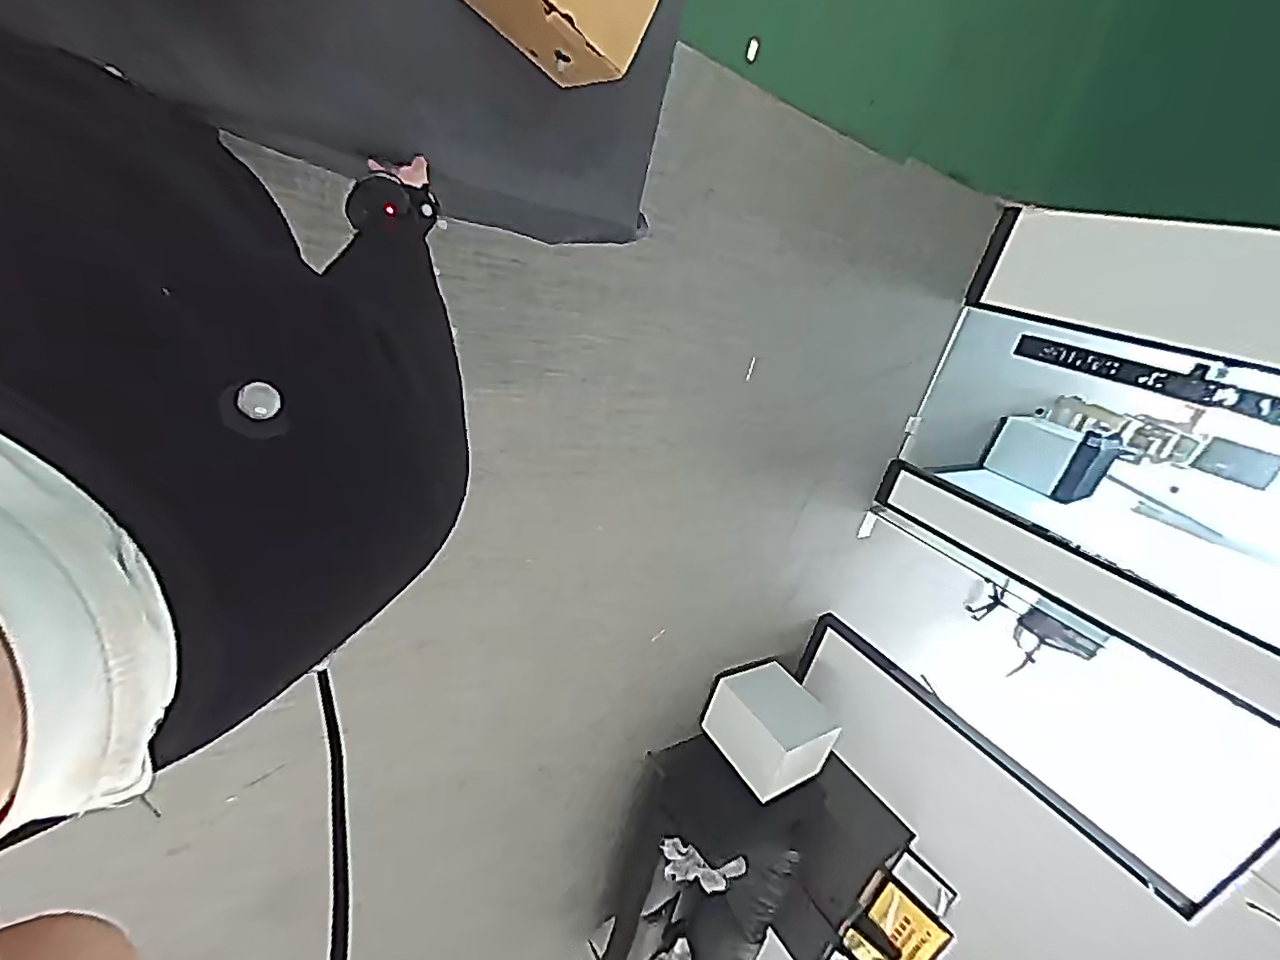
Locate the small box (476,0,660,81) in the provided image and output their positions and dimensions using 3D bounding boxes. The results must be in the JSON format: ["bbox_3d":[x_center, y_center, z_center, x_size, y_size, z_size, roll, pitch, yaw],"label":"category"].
[{"bbox_3d":[-0.079,-0.597,0.617,0.168,0.176,0.179,17,105,-43],"label":"small box"}]
